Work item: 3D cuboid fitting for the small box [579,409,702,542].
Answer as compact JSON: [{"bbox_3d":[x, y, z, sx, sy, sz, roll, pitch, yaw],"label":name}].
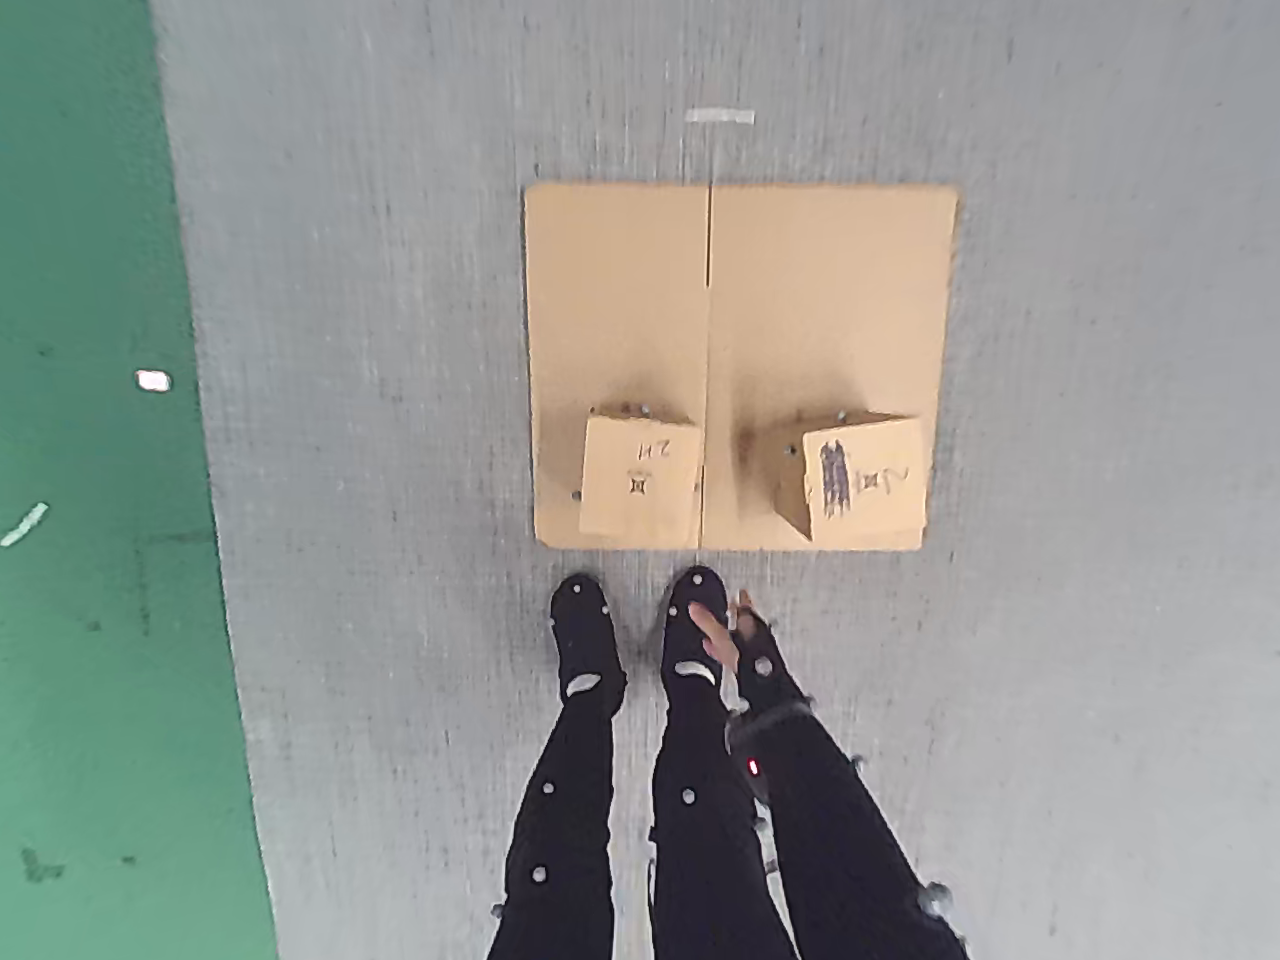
[{"bbox_3d":[-0.001,-0.015,0.864,0.168,0.176,0.179,6,100,-2],"label":"small box"}]
